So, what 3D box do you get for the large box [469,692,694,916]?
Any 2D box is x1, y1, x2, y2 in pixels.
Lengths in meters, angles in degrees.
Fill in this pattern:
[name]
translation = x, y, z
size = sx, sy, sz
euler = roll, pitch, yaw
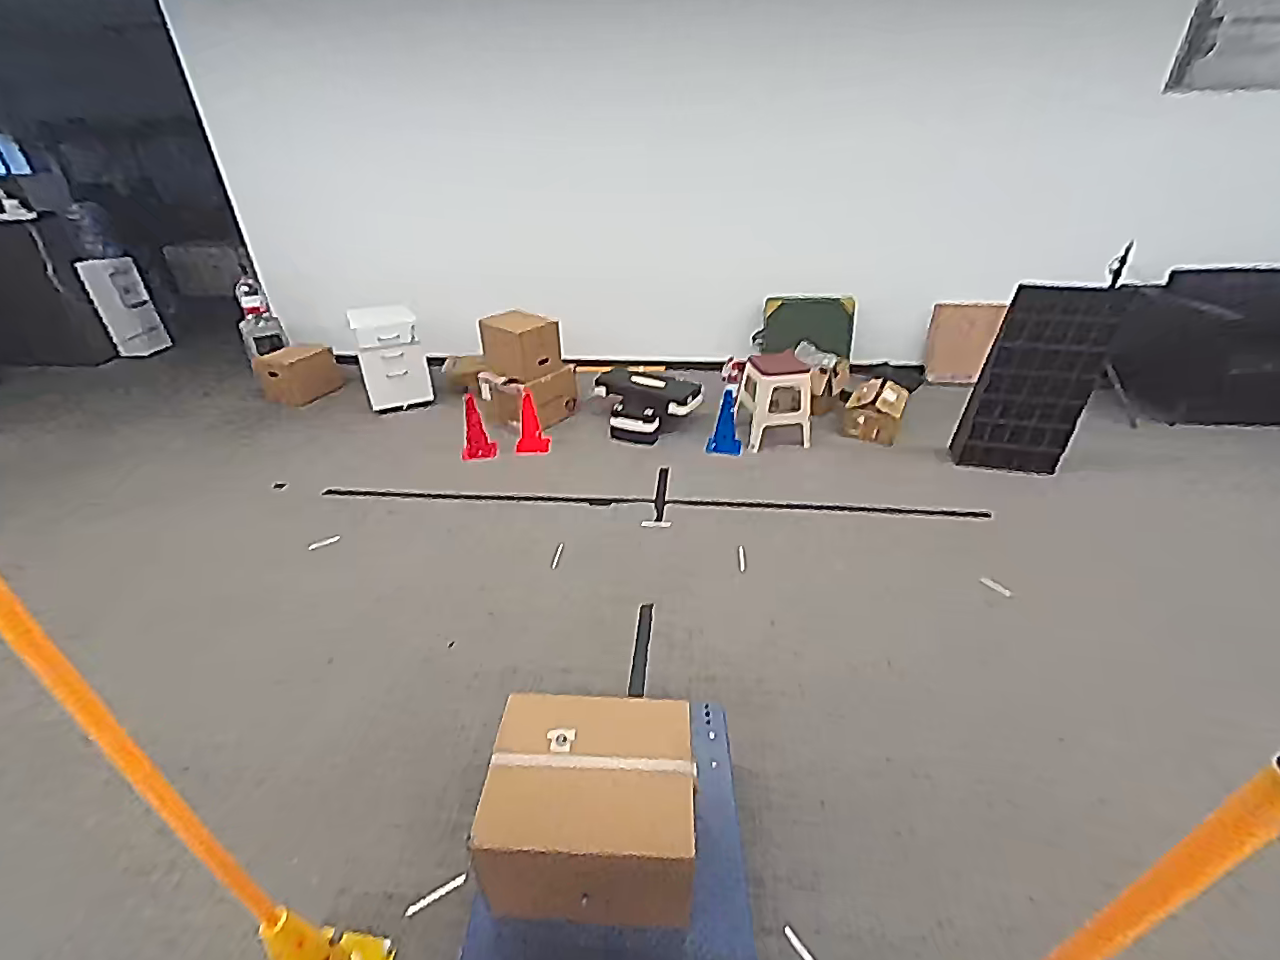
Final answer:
[large box]
translation = -0.096, 0.684, 1.154
size = 0.408, 0.320, 0.320
euler = 1, 33, 3
